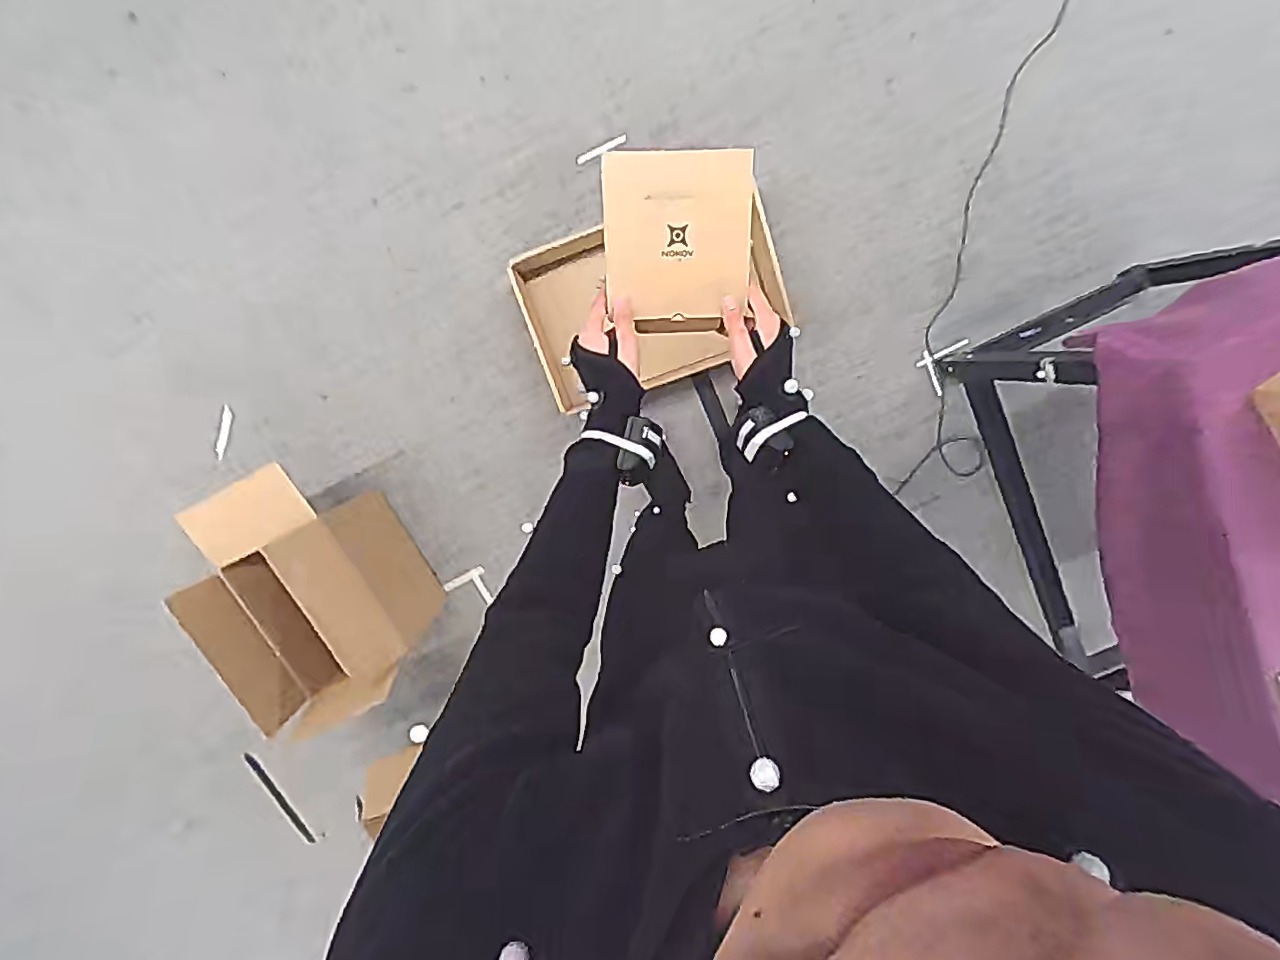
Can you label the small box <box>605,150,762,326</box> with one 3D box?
[{"bbox_3d":[0.043,-0.287,0.664,0.168,0.176,0.179,-2,109,-3],"label":"small box"}]
